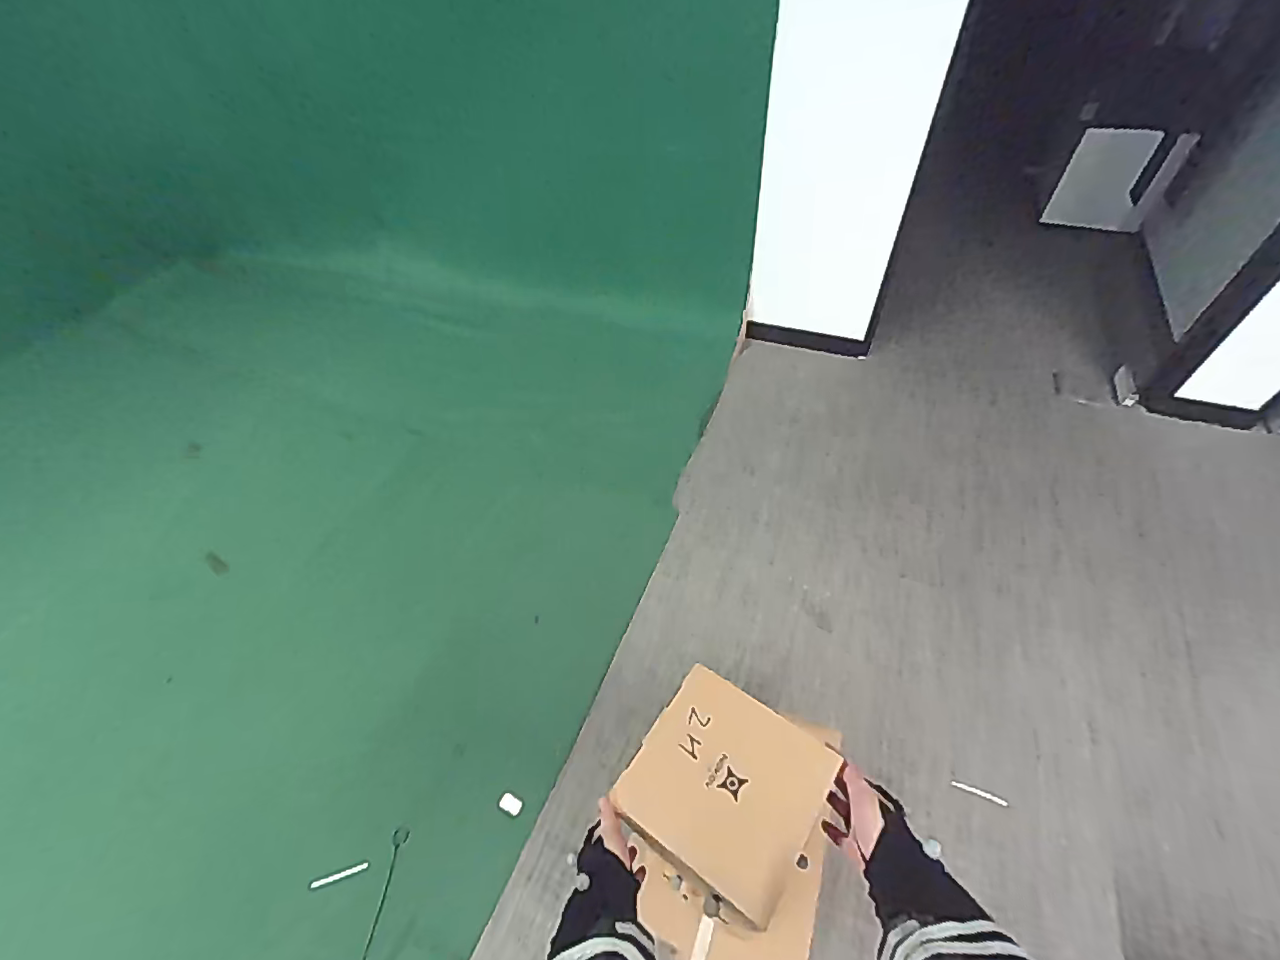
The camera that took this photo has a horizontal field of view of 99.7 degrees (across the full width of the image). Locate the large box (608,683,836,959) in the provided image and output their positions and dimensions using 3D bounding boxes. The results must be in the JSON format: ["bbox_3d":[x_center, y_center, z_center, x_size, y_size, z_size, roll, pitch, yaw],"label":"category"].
[{"bbox_3d":[0.167,0.685,1.047,0.320,0.320,0.408,15,52,16],"label":"large box"}]

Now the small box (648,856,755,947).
[{"bbox_3d":[0.127,0.566,0.833,0.168,0.176,0.179,24,57,23],"label":"small box"}]

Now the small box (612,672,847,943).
[{"bbox_3d":[0.094,0.350,0.589,0.179,0.176,0.168,27,58,26],"label":"small box"}]
